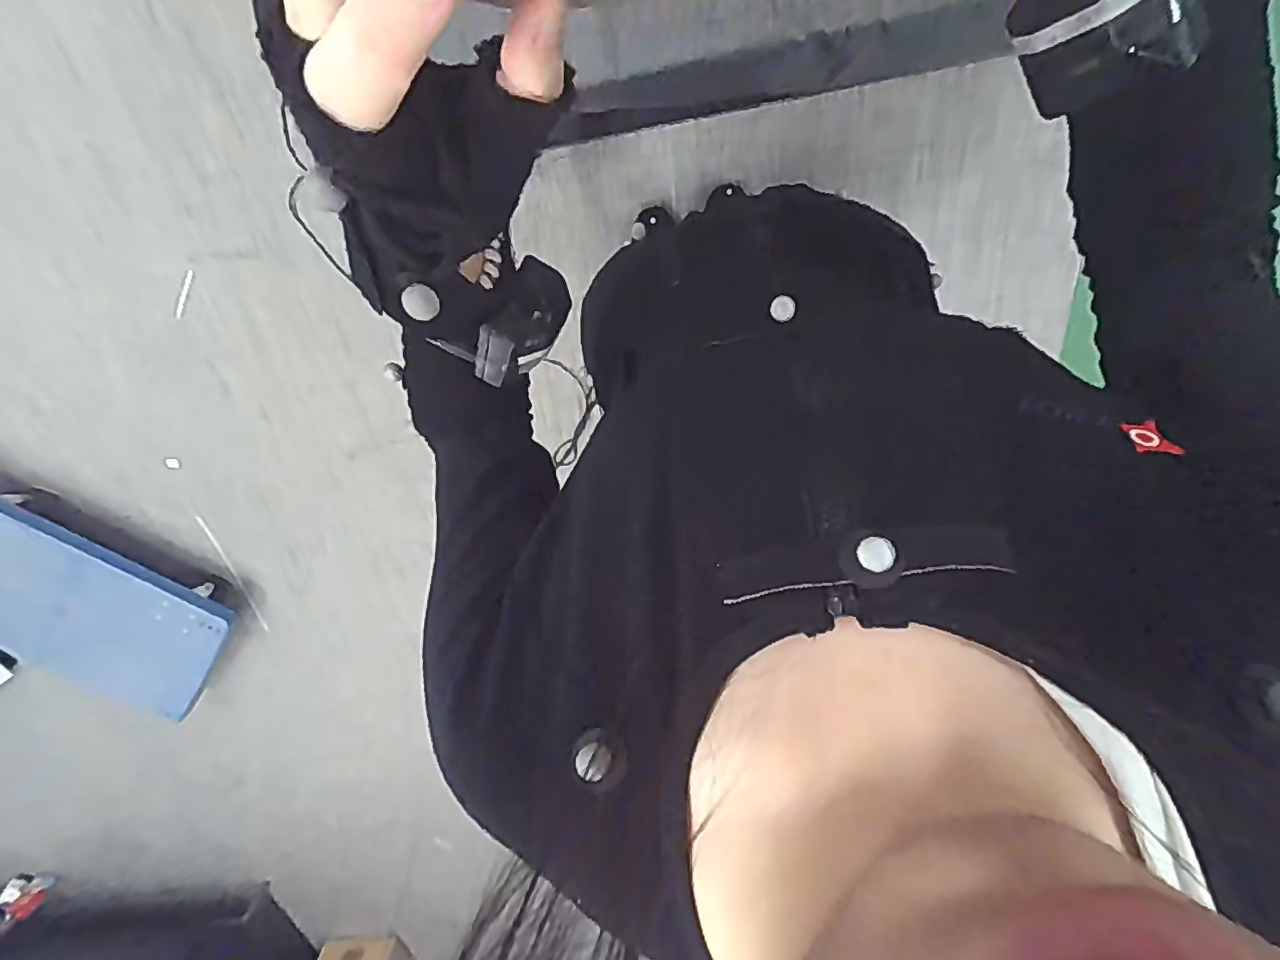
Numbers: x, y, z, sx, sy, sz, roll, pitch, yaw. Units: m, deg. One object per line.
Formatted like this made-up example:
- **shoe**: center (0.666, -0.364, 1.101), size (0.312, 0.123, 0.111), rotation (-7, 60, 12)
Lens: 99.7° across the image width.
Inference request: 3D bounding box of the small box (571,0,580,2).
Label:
- **small box**: center (0.027, -0.232, 0.125), size (0.168, 0.179, 0.176), rotation (-3, 130, 0)
